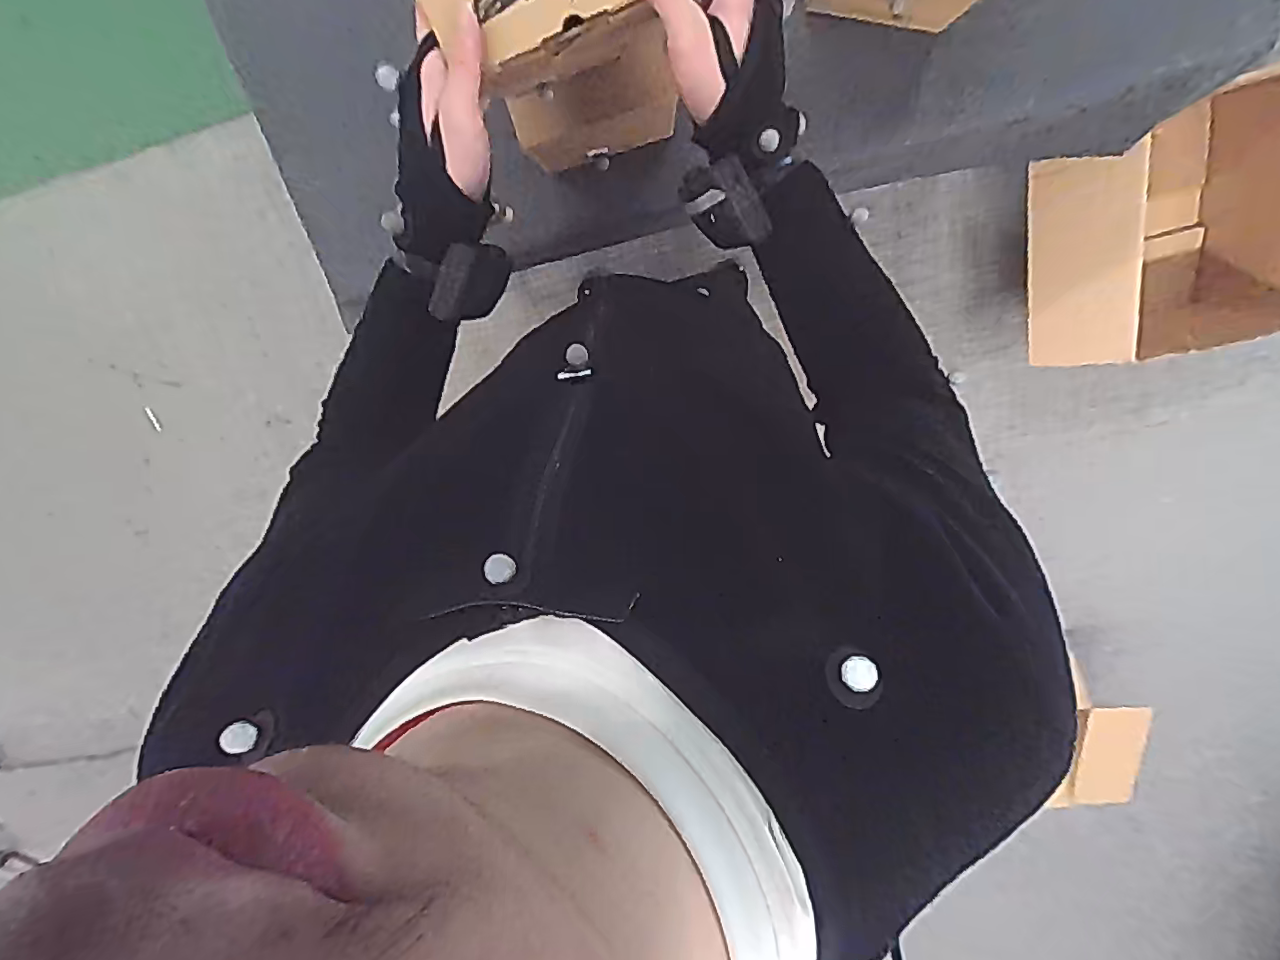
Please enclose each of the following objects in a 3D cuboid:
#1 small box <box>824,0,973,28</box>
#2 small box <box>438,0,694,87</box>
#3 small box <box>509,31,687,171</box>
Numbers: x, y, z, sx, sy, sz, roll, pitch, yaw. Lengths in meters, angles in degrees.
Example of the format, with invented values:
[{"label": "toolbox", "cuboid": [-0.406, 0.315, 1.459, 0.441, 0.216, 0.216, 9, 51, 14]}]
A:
[{"label": "small box", "cuboid": [0.285, -0.584, 0.527, 0.168, 0.176, 0.179, 8, 112, -2]}, {"label": "small box", "cuboid": [-0.059, -0.396, 0.368, 0.168, 0.176, 0.179, -15, 120, 11]}, {"label": "small box", "cuboid": [-0.055, -0.453, 0.566, 0.168, 0.176, 0.179, -15, 111, 7]}]
